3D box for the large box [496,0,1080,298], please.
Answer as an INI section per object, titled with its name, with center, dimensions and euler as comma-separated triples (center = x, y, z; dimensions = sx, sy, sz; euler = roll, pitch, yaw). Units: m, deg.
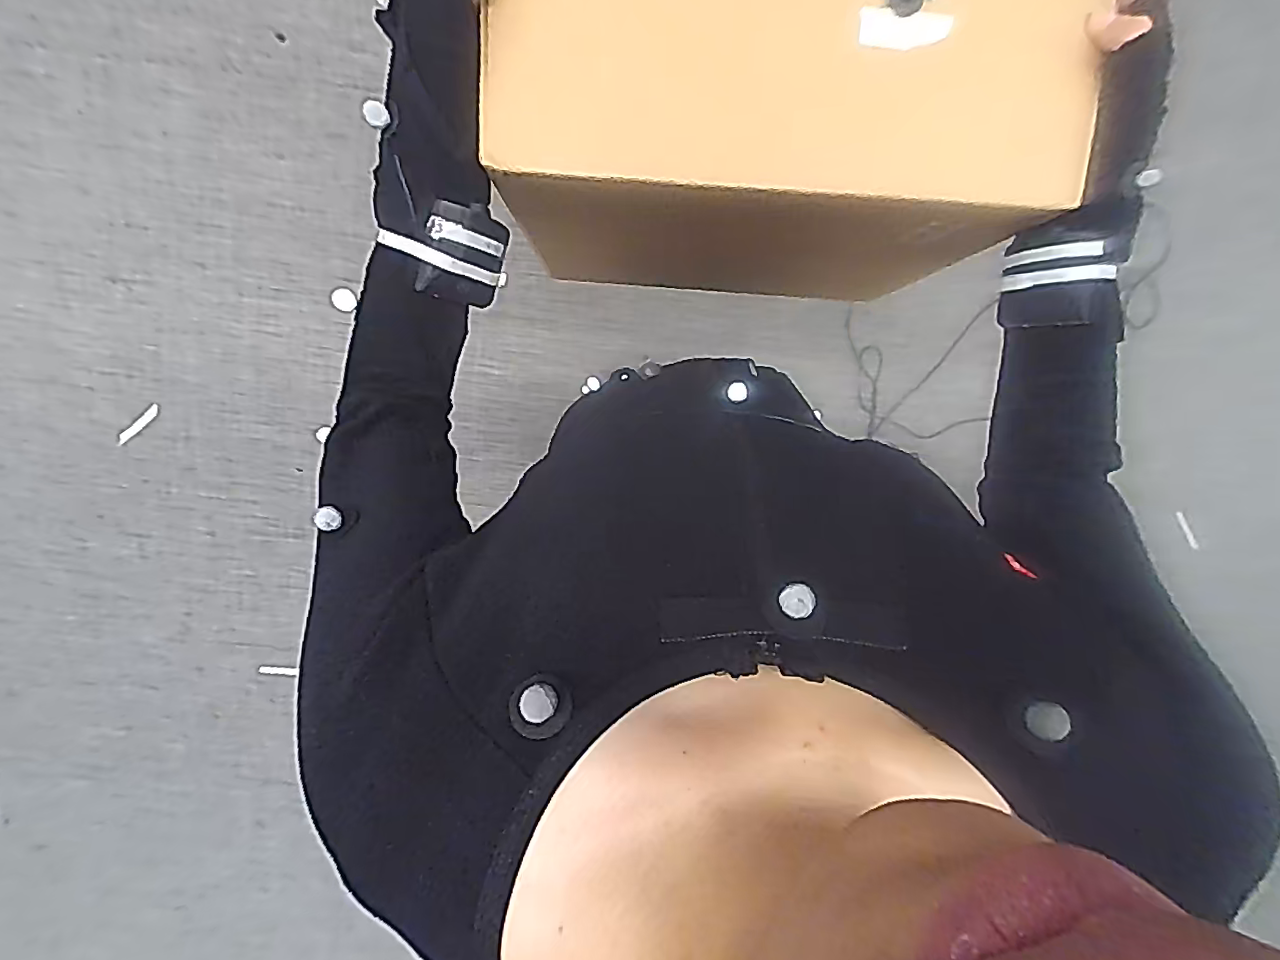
[large box]
center = 0.099, -0.370, 0.511
dimensions = 0.408, 0.320, 0.320
euler = 3, 97, -2
